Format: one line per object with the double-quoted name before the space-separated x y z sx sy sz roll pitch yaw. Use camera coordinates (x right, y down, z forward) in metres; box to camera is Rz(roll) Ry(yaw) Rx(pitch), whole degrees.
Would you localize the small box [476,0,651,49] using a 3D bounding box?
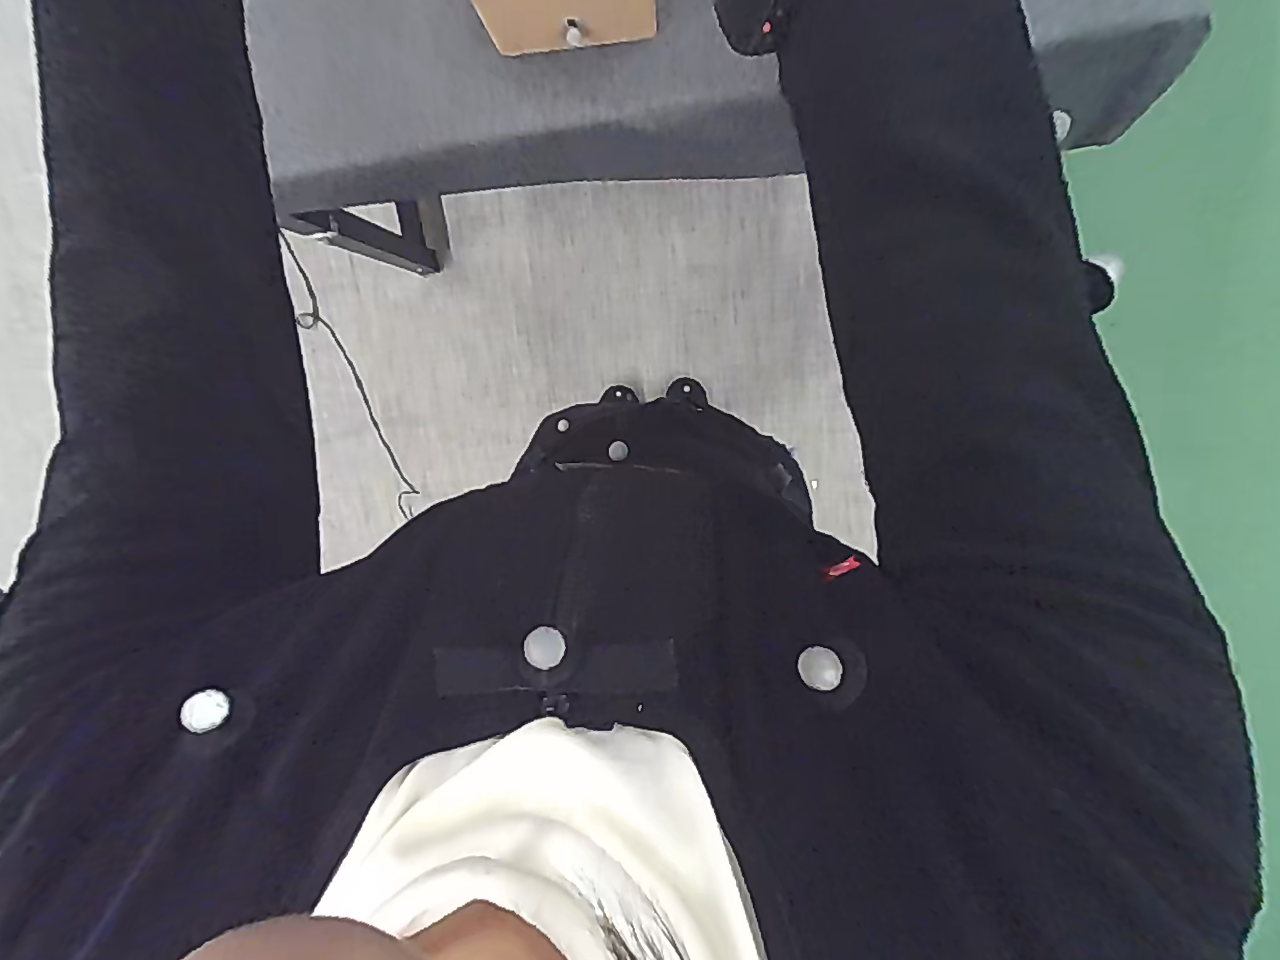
"small box" -0.079 -0.546 0.504 0.179 0.176 0.168 -4 101 4
